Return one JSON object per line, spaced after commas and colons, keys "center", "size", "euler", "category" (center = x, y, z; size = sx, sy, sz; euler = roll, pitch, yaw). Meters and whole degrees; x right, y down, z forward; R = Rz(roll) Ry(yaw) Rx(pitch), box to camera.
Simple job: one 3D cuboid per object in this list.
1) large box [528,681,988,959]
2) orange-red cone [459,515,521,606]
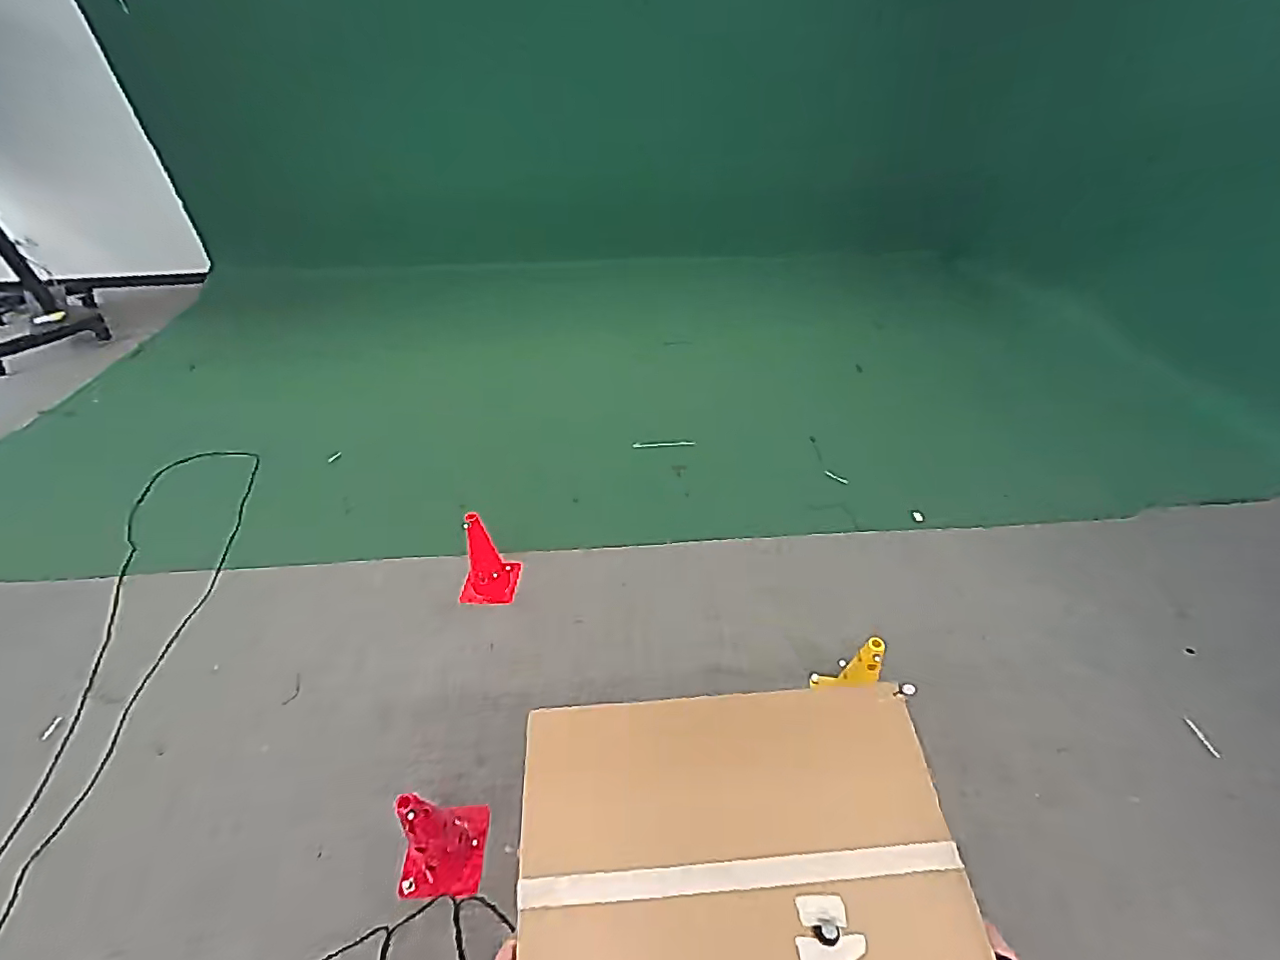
{"center": [0.096, 0.451, 0.623], "size": [0.408, 0.320, 0.320], "euler": [-4, 55, -2], "category": "large box"}
{"center": [-0.571, 0.266, 1.934], "size": [0.199, 0.360, 0.198], "euler": [1, 40, 5], "category": "orange-red cone"}
